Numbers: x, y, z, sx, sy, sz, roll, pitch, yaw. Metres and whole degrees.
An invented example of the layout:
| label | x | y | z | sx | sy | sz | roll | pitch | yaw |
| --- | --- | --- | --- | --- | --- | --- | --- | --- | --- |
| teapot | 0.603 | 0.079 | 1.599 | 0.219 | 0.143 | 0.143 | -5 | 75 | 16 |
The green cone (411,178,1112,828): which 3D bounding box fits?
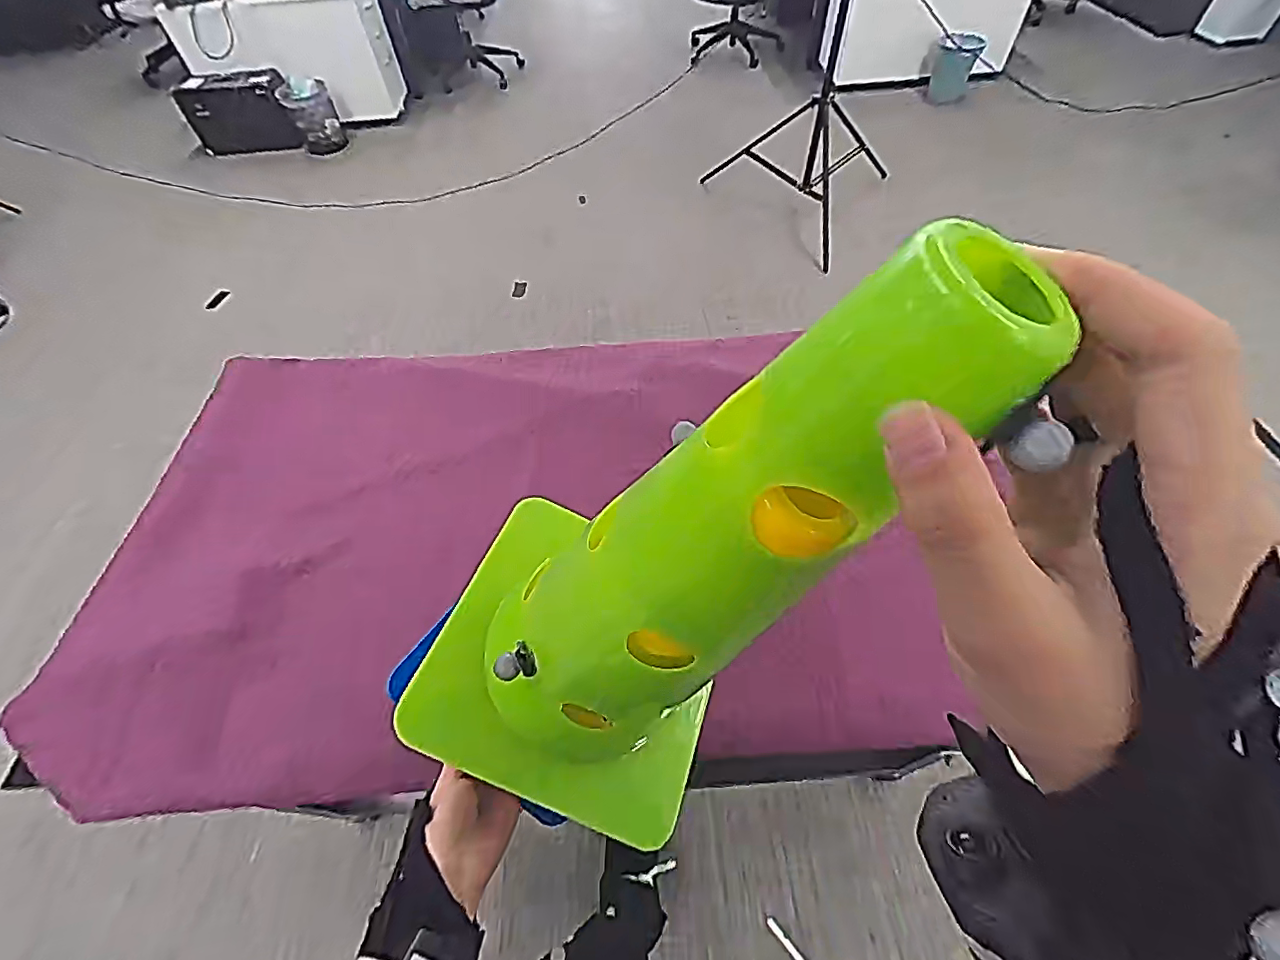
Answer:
| label | x | y | z | sx | sy | sz | roll | pitch | yaw |
| --- | --- | --- | --- | --- | --- | --- | --- | --- | --- |
| green cone | 0.020 | 0.033 | 0.256 | 0.200 | 0.368 | 0.202 | 26 | 56 | -4 |
